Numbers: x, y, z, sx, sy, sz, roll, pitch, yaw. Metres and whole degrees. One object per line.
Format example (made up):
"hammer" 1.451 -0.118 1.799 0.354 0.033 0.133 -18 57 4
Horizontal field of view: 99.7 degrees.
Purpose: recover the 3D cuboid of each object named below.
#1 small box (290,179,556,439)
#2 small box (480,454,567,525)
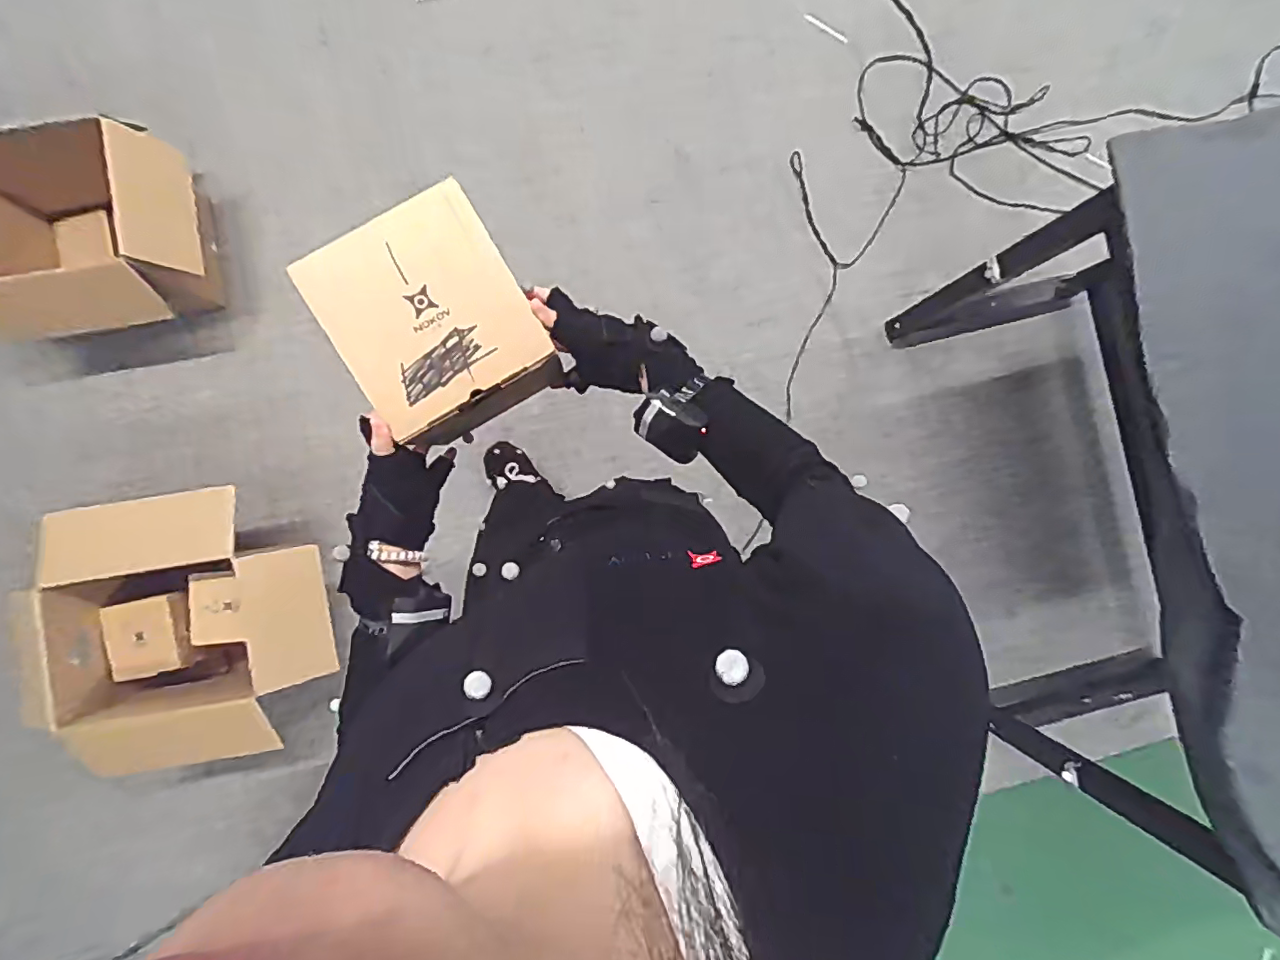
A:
"small box" -0.198 -0.156 0.557 0.168 0.176 0.179 -31 95 -3
"small box" -0.302 0.019 1.414 0.179 0.176 0.168 2 97 15
